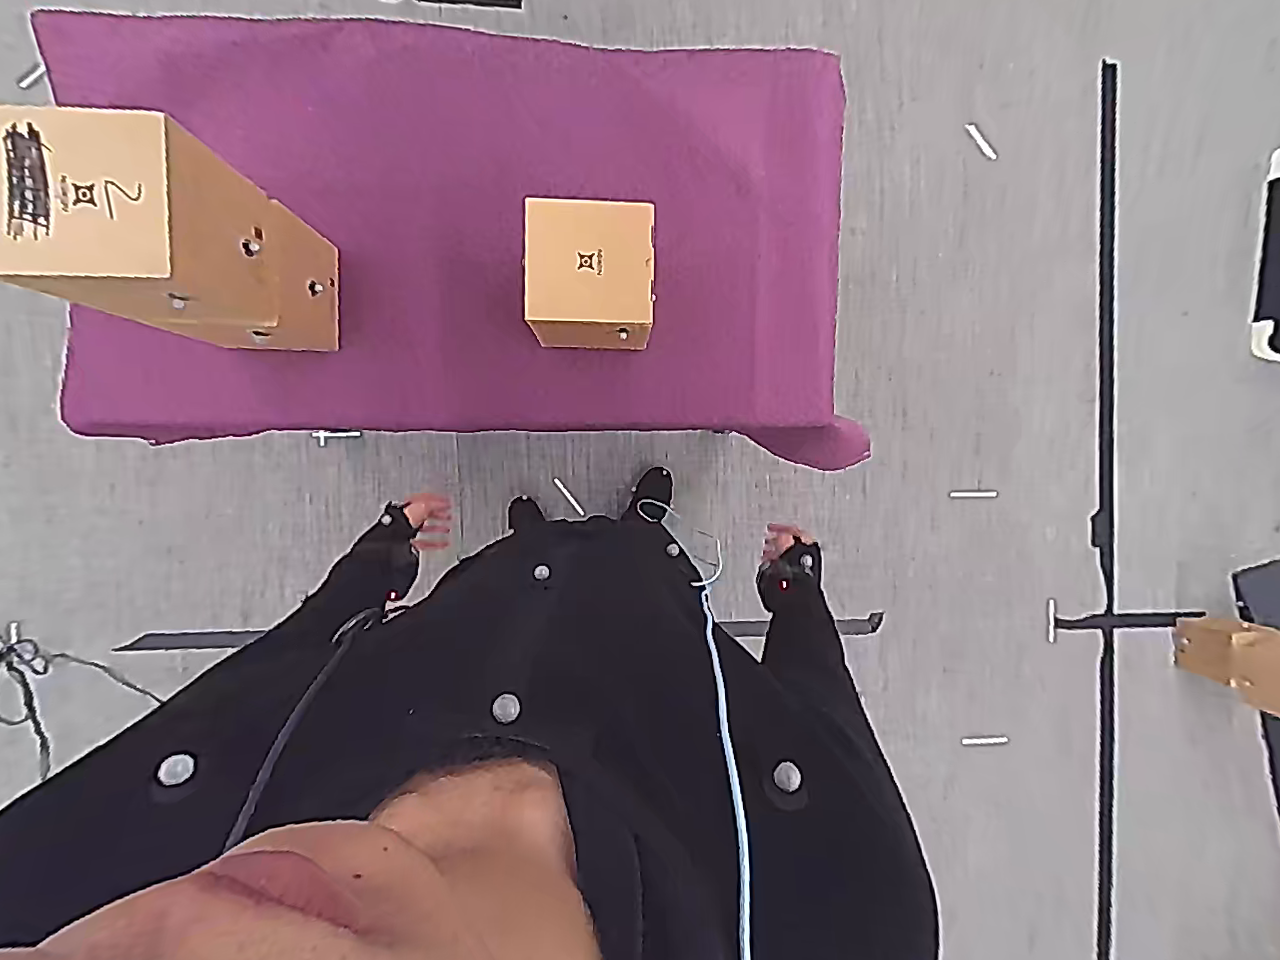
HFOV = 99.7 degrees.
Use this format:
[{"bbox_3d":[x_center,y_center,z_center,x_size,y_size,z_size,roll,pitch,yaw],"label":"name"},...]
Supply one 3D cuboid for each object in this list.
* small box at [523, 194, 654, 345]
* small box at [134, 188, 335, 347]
[{"bbox_3d":[-0.074,-0.301,0.806,0.179,0.176,0.168,0,92,-4],"label":"small box"},{"bbox_3d":[-0.561,-0.290,0.772,0.179,0.176,0.168,1,92,-4],"label":"small box"}]
